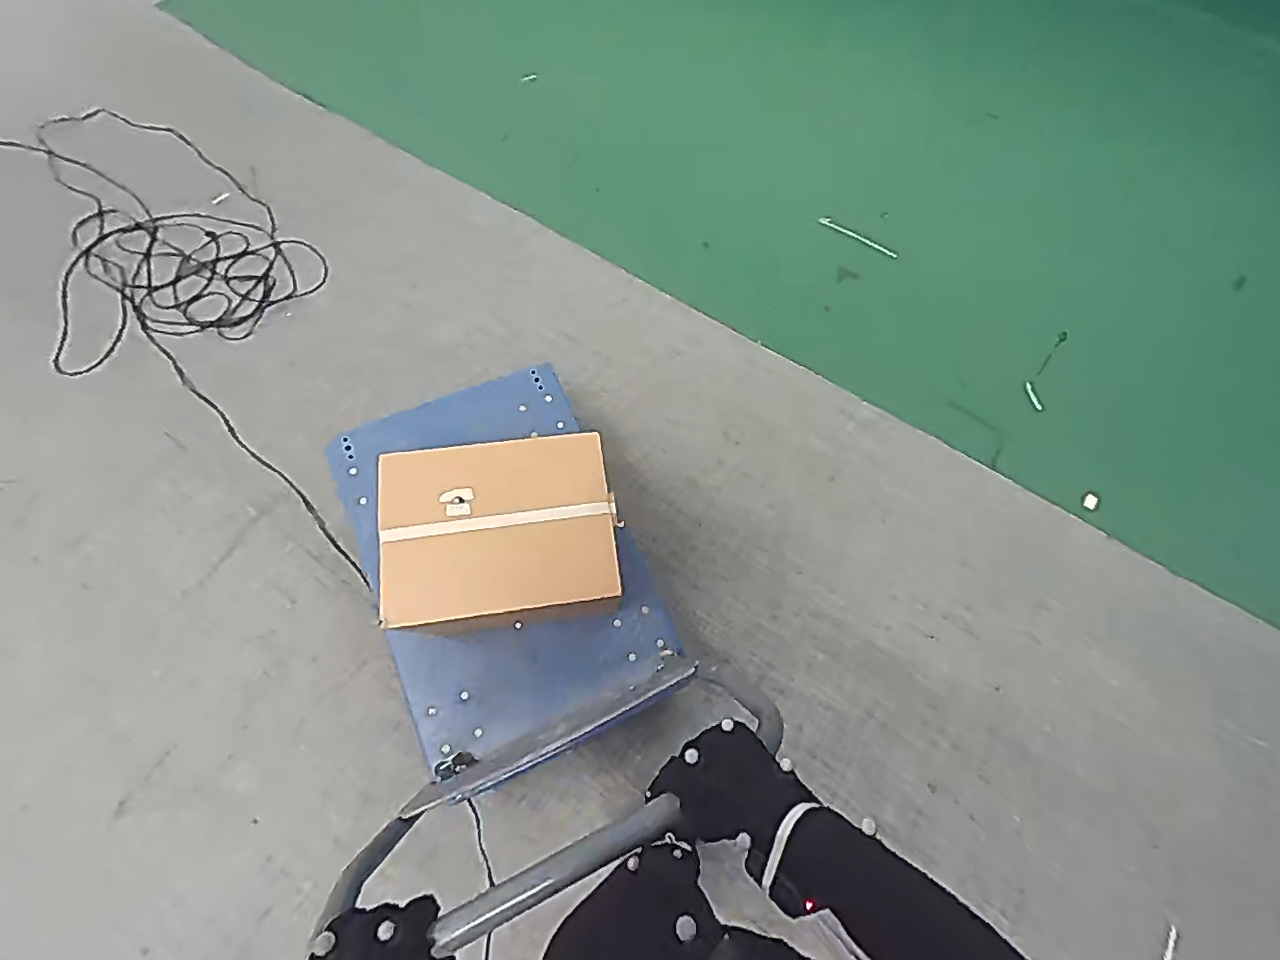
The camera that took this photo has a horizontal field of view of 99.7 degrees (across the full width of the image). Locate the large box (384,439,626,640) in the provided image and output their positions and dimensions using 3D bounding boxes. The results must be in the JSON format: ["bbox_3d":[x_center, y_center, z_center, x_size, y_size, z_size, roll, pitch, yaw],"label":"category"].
[{"bbox_3d":[-0.253,0.137,1.101,0.408,0.320,0.320,-8,72,-6],"label":"large box"}]
